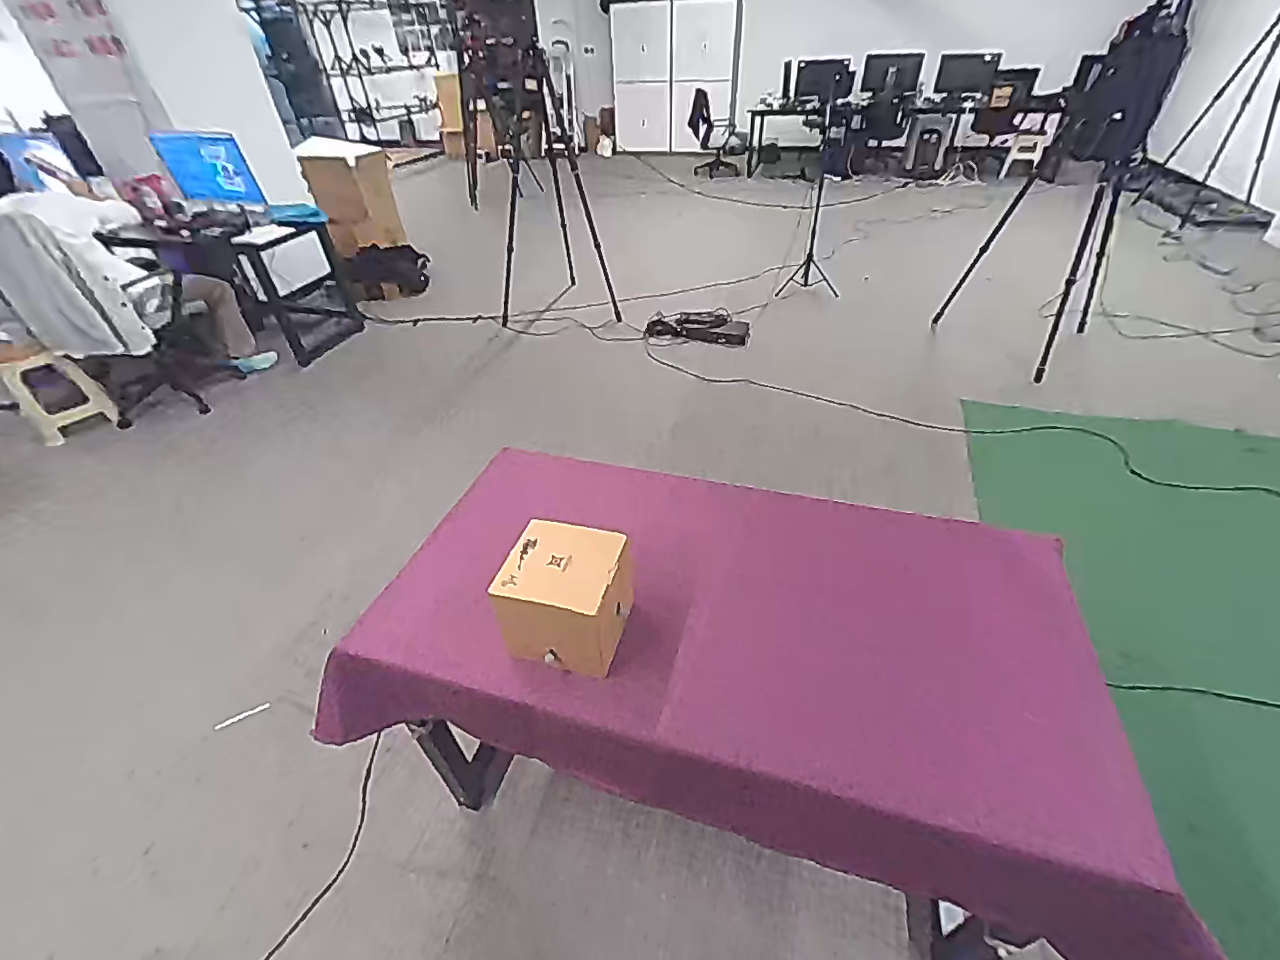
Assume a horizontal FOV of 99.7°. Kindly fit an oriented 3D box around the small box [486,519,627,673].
[{"bbox_3d":[-0.124,0.193,0.894,0.179,0.176,0.168,9,41,13],"label":"small box"}]
